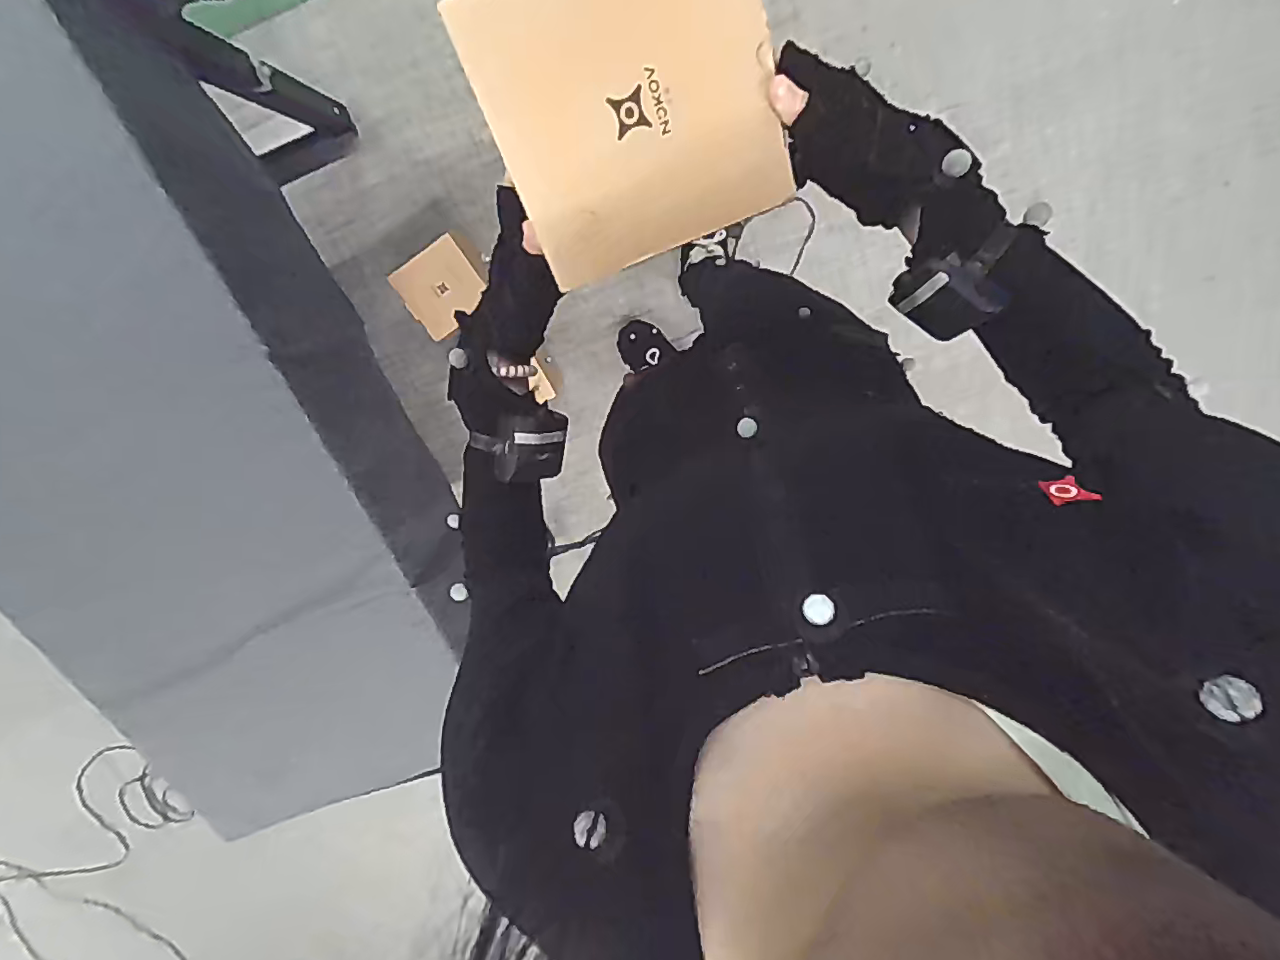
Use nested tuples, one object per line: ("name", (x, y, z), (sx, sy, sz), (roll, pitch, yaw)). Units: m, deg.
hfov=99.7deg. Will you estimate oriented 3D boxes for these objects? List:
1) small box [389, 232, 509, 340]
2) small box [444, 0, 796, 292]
("small box", (-0.432, -0.450, 1.257), (0.179, 0.176, 0.168), (-30, 110, 12))
("small box", (-0.011, -0.261, 0.395), (0.179, 0.176, 0.168), (-21, 123, 4))
